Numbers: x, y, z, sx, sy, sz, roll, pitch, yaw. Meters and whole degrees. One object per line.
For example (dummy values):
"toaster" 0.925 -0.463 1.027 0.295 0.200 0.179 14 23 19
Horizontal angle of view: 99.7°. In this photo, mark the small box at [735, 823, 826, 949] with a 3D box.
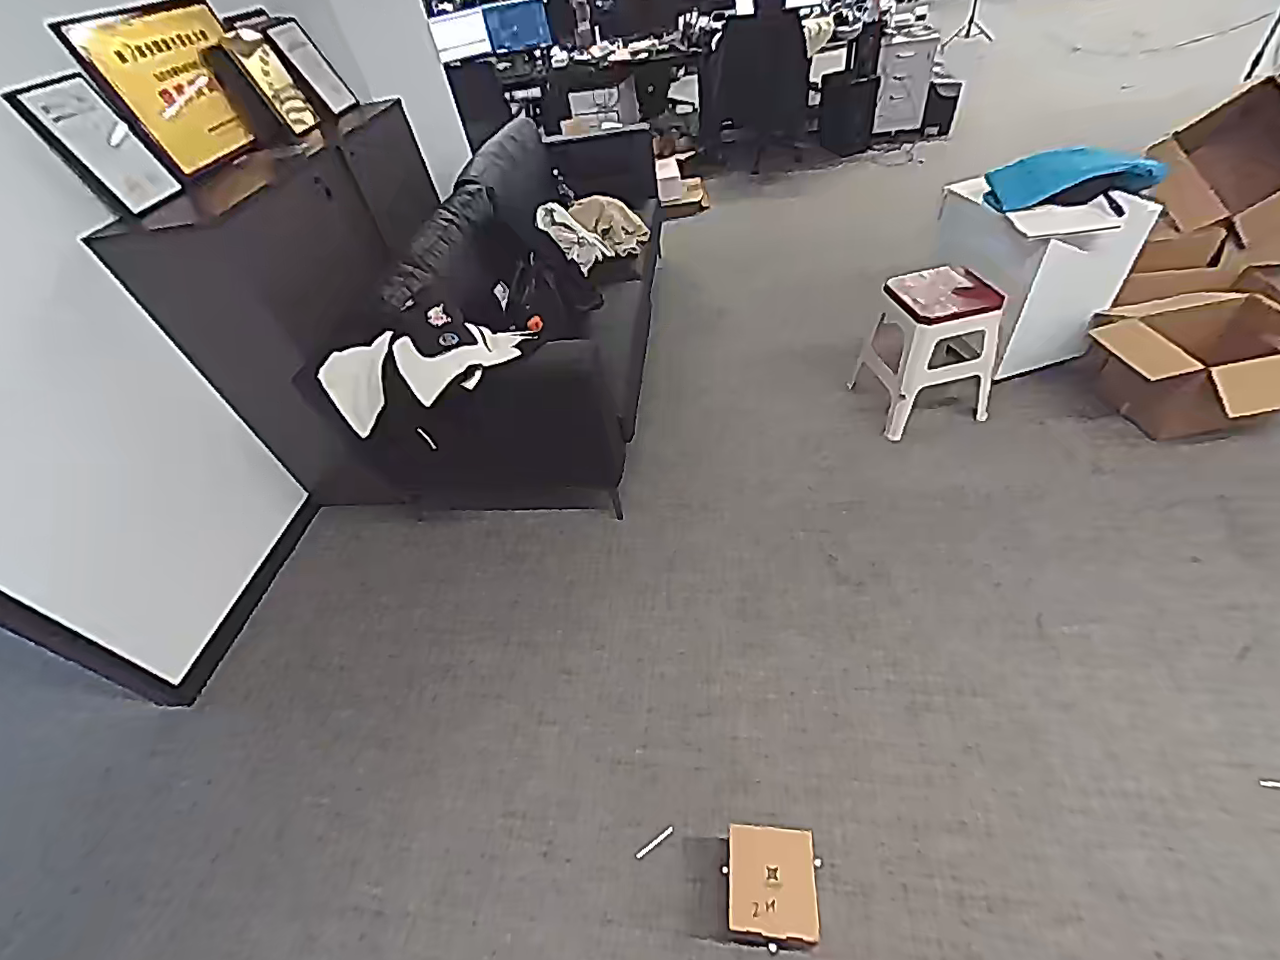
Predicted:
"small box" 0.279 0.829 1.104 0.168 0.176 0.179 -2 47 11
